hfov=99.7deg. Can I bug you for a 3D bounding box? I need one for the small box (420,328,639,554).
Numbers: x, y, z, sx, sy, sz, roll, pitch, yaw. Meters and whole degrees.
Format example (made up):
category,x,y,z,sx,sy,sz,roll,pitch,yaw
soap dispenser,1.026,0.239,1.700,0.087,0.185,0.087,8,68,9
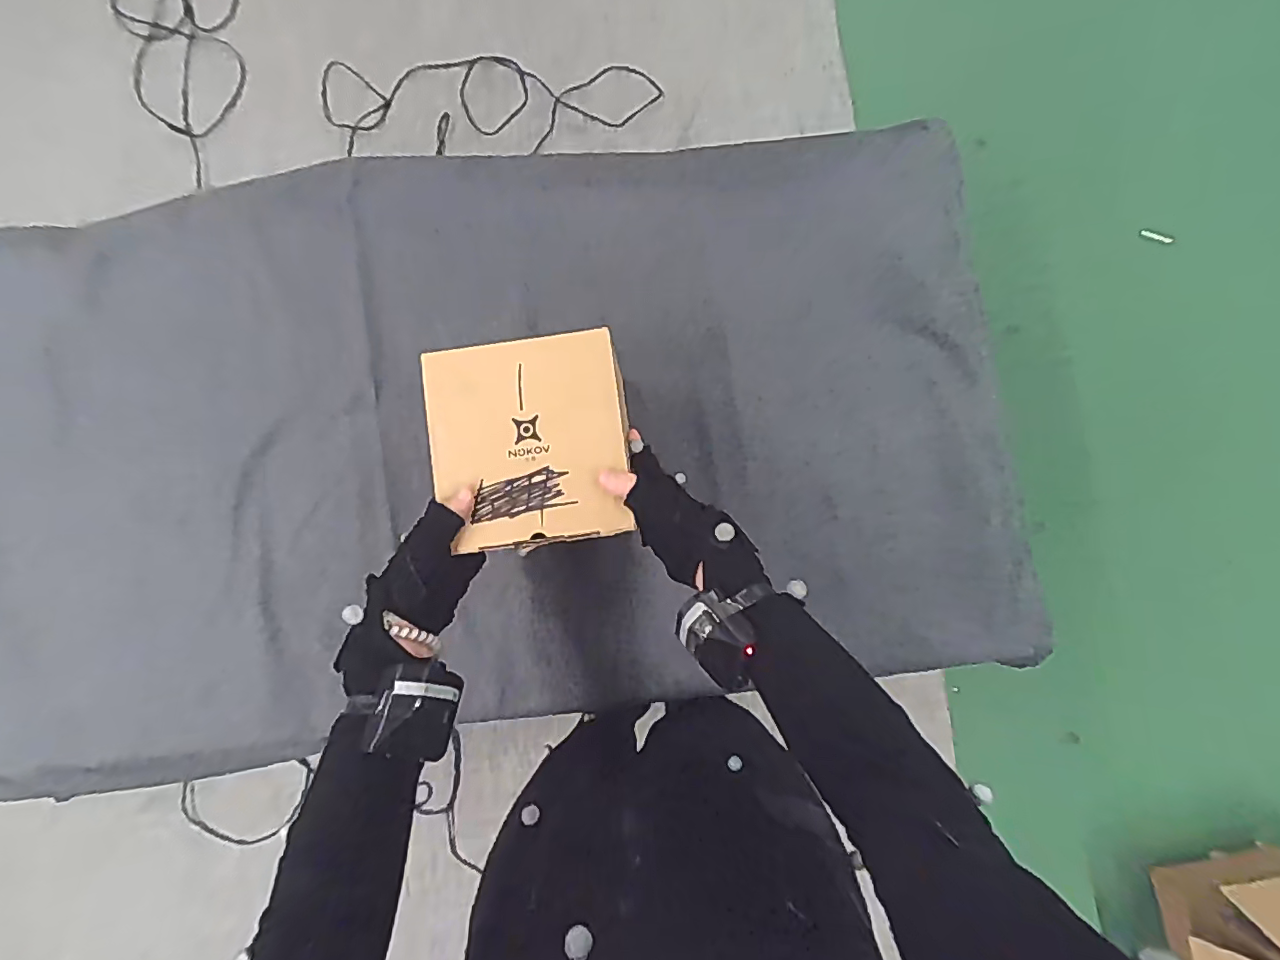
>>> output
category,x,y,z,sx,sy,sz,roll,pitch,yaw
small box,-0.094,-0.029,0.535,0.168,0.176,0.179,-8,85,1
